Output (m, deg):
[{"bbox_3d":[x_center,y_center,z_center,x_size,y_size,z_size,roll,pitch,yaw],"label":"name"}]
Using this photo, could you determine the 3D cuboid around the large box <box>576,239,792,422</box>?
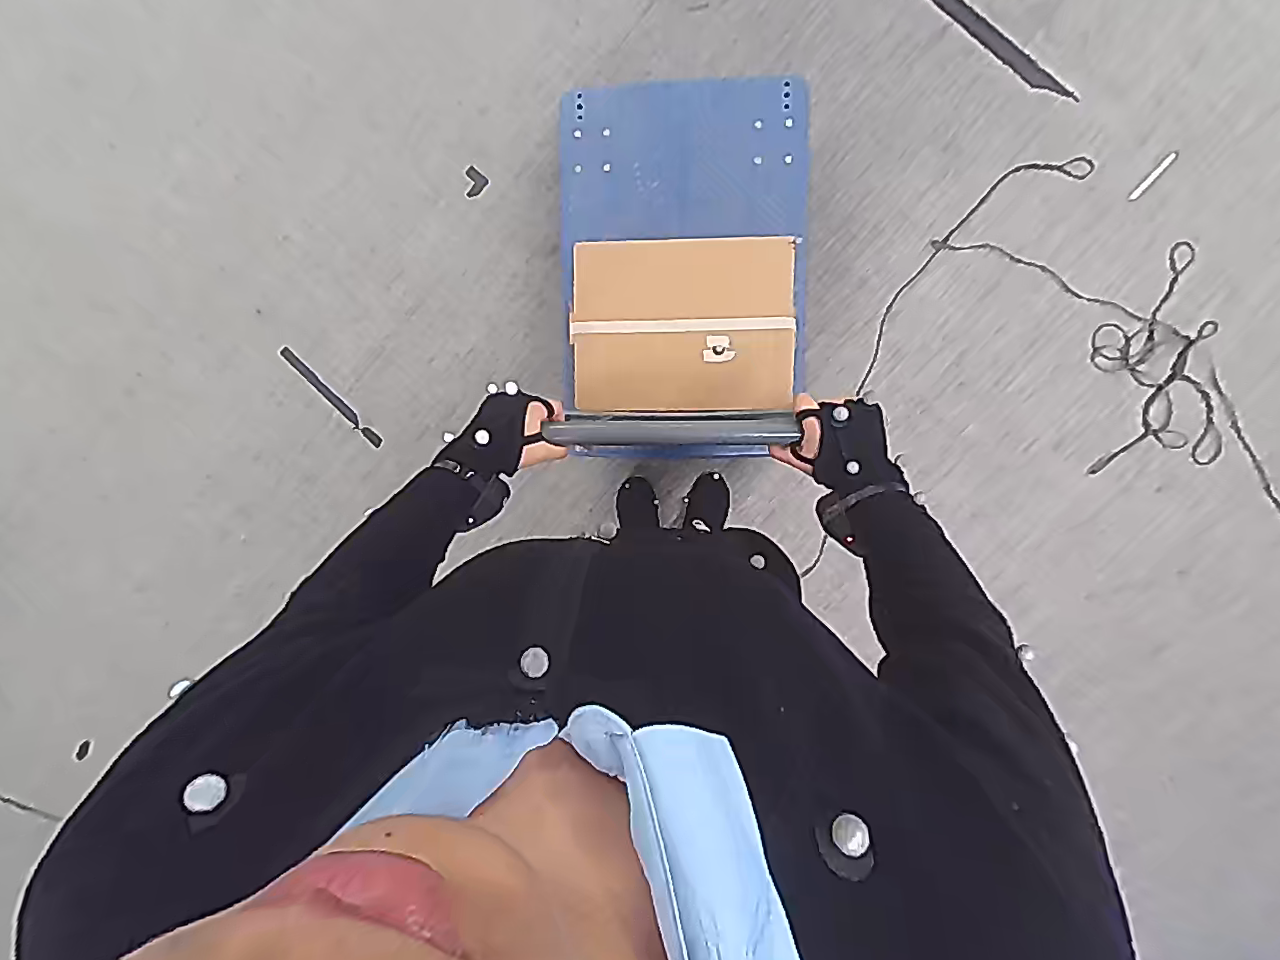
[{"bbox_3d":[0.088,-0.290,1.149,0.408,0.320,0.320,0,94,3],"label":"large box"}]
